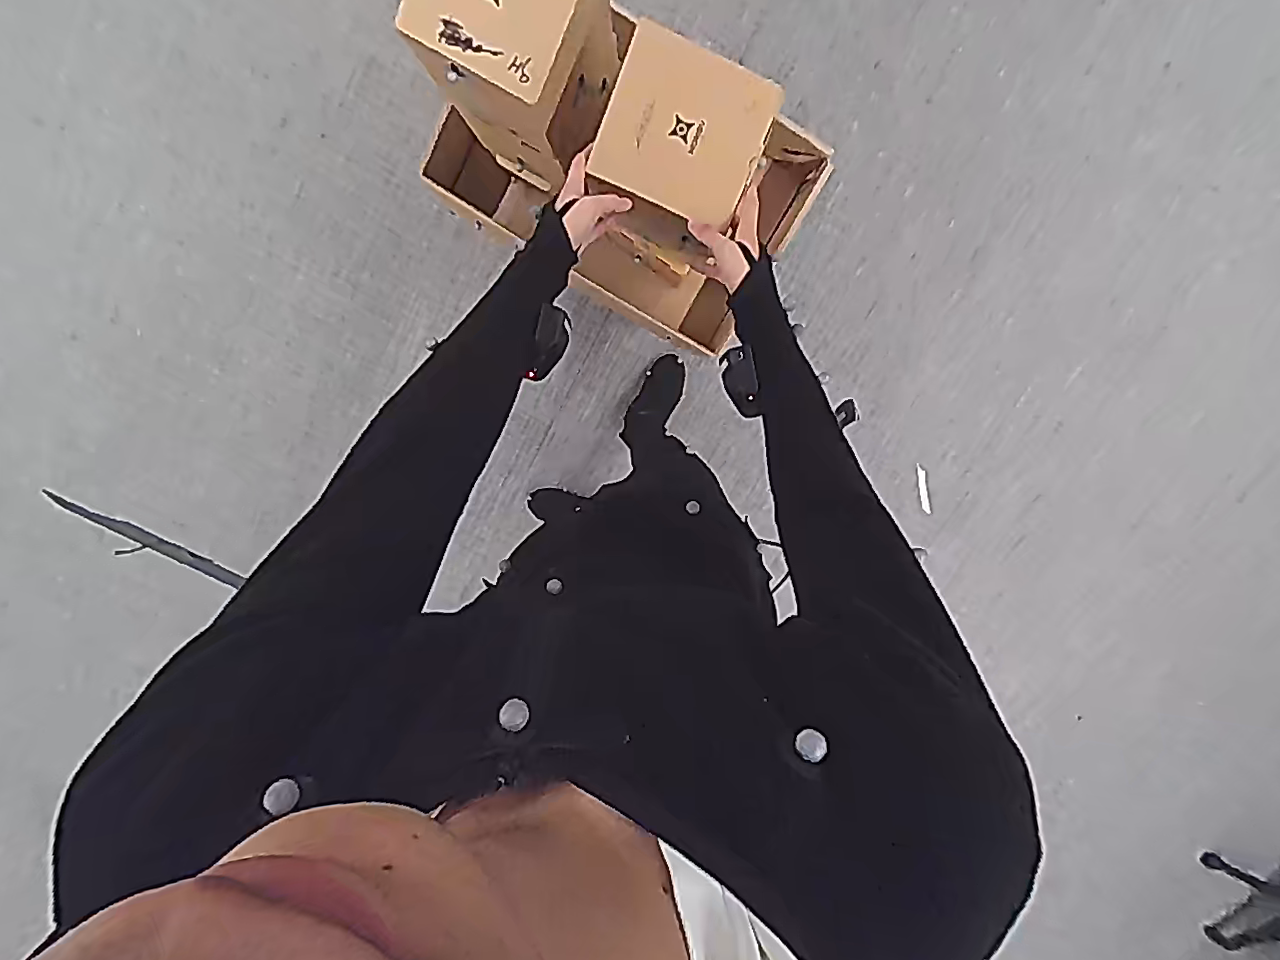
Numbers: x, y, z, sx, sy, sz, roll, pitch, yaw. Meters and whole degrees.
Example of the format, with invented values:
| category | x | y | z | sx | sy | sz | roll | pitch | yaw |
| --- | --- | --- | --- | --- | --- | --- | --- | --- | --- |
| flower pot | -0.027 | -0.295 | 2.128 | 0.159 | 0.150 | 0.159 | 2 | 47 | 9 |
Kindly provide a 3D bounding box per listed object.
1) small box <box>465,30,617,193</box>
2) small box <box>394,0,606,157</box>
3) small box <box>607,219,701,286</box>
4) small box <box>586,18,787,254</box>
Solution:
| category | x | y | z | sx | sy | sz | roll | pitch | yaw |
| --- | --- | --- | --- | --- | --- | --- | --- | --- | --- |
| small box | -0.143 | -0.564 | 0.796 | 0.168 | 0.176 | 0.179 | 27 | 103 | -6 |
| small box | -0.148 | -0.528 | 0.634 | 0.168 | 0.176 | 0.179 | 27 | 101 | -5 |
| small box | 0.056 | -0.481 | 0.987 | 0.168 | 0.176 | 0.179 | 32 | 102 | -6 |
| small box | 0.047 | -0.397 | 0.666 | 0.179 | 0.176 | 0.168 | 21 | 100 | -6 |
